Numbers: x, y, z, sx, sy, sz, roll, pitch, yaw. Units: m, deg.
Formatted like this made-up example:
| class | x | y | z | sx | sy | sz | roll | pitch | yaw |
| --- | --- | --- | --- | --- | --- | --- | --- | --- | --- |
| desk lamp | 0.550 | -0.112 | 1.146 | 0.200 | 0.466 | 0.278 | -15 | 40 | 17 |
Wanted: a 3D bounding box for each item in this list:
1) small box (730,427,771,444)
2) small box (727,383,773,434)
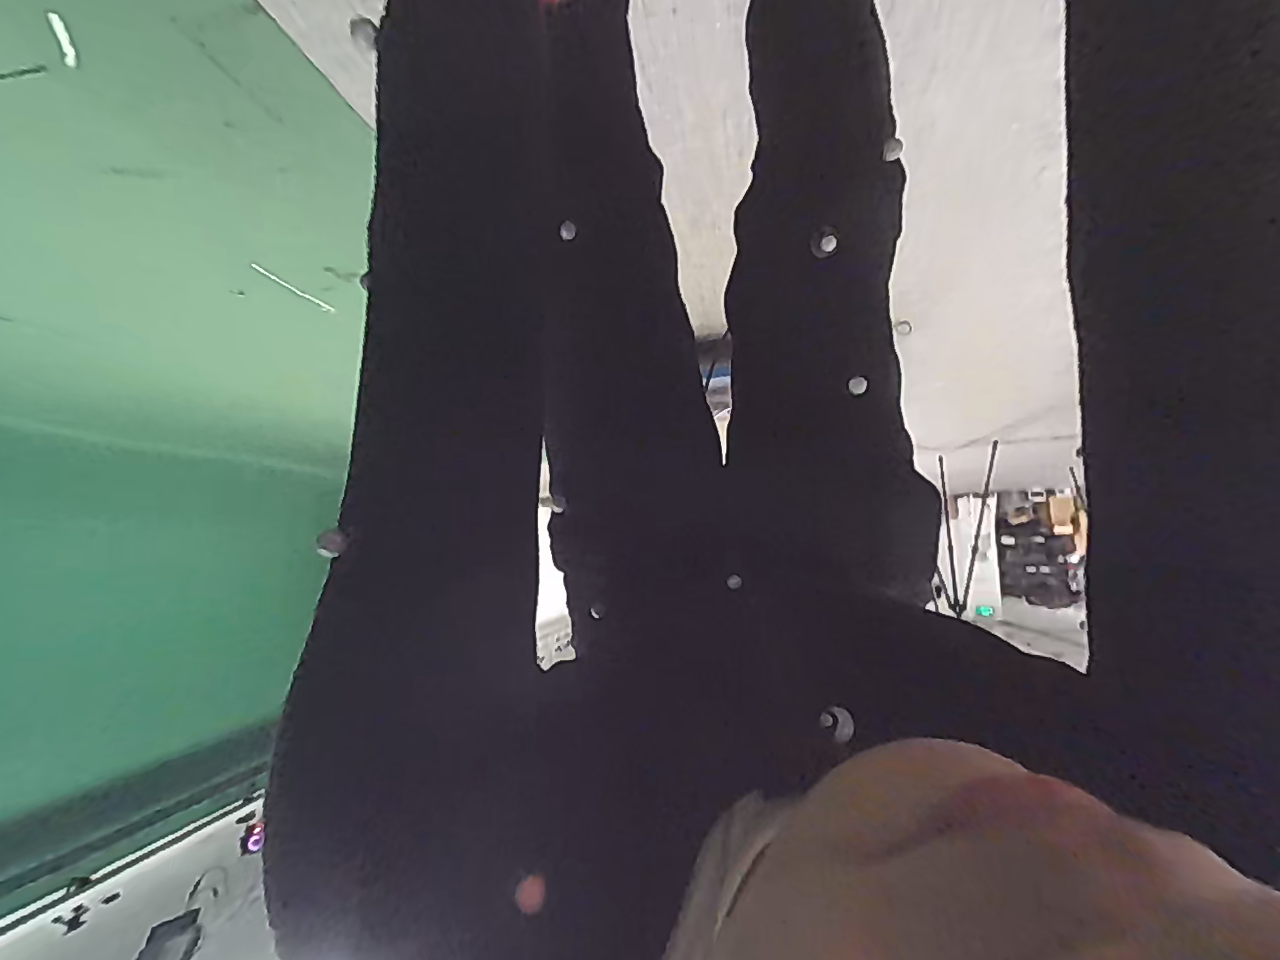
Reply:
| class | x | y | z | sx | sy | sz | roll | pitch | yaw |
| --- | --- | --- | --- | --- | --- | --- | --- | --- | --- |
| small box | 0.491 | -0.262 | 2.427 | 0.168 | 0.176 | 0.179 | -2 | 174 | 8 |
| small box | 0.442 | -0.289 | 2.170 | 0.168 | 0.176 | 0.179 | -3 | 173 | 13 |
